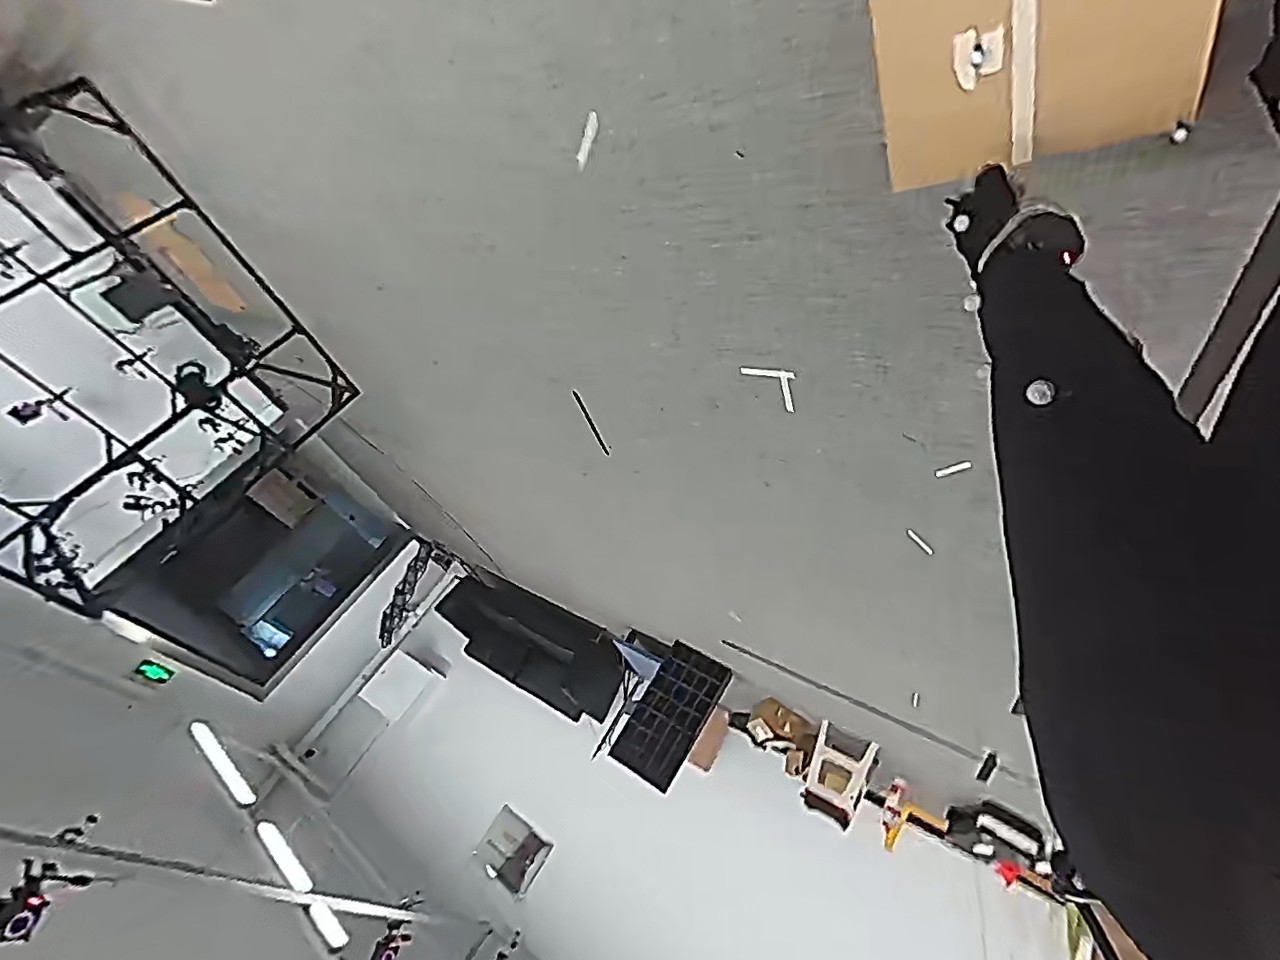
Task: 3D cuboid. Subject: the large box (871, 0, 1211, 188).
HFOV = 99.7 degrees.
[{"bbox_3d":[0.488,-0.661,0.658,0.320,0.320,0.408,8,143,40],"label":"large box"}]
